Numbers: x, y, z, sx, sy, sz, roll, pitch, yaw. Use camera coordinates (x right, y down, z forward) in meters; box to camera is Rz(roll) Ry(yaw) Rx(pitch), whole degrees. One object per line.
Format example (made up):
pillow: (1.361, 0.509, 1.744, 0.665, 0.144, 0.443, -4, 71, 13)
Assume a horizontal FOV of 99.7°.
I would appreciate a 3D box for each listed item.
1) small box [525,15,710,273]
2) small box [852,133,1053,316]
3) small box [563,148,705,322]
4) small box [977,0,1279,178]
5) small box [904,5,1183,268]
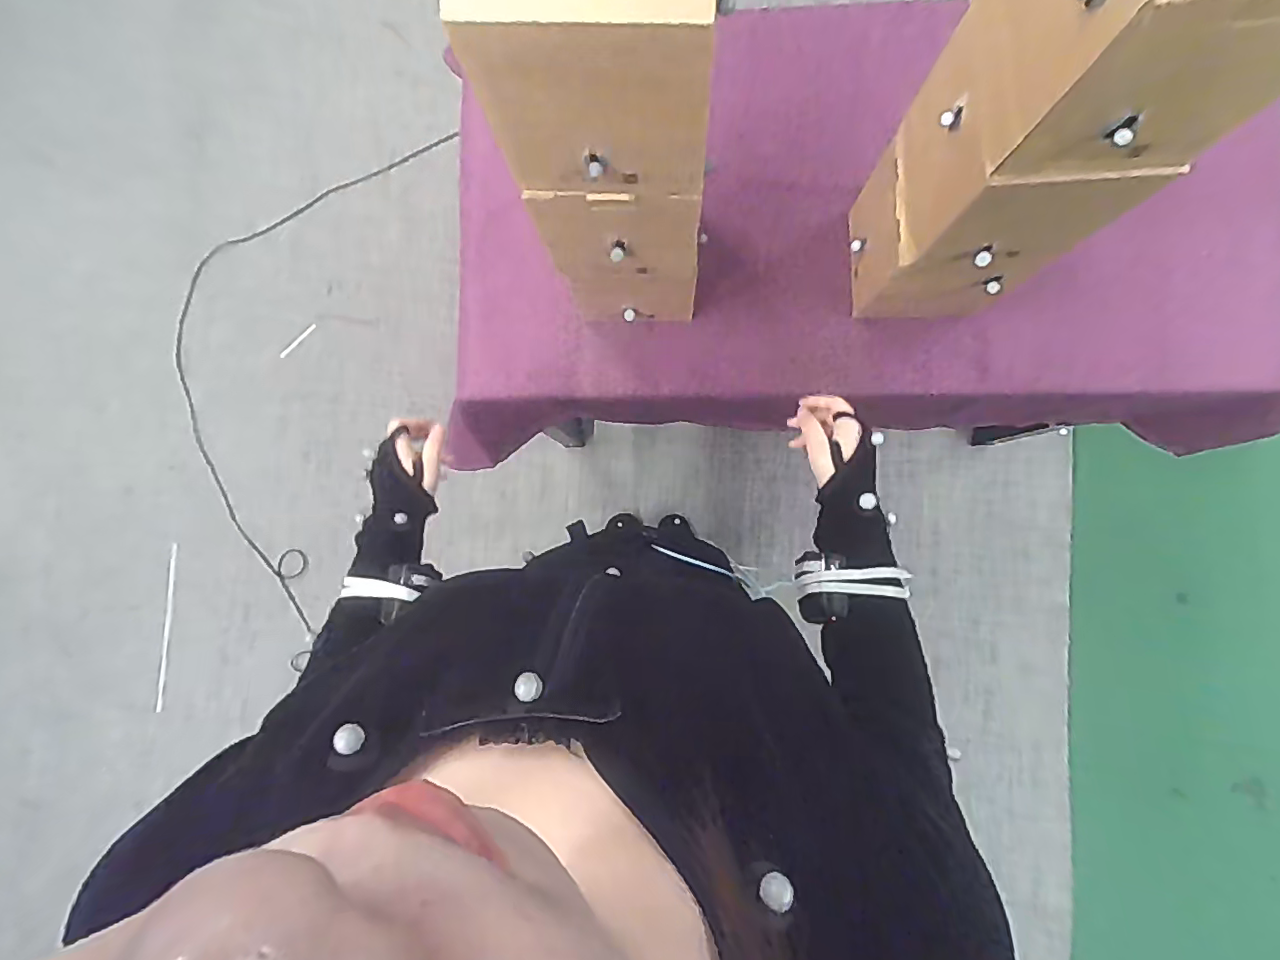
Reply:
small box: (-0.016, -0.335, 0.572, 0.168, 0.176, 0.179, 2, 87, 3)
small box: (0.395, -0.325, 0.712, 0.179, 0.176, 0.168, 0, 86, 3)
small box: (-0.004, -0.333, 0.735, 0.168, 0.176, 0.179, 2, 87, 3)
small box: (0.372, -0.354, 0.388, 0.168, 0.176, 0.179, -3, 87, 4)
small box: (0.385, -0.338, 0.549, 0.168, 0.176, 0.179, -1, 87, 4)
